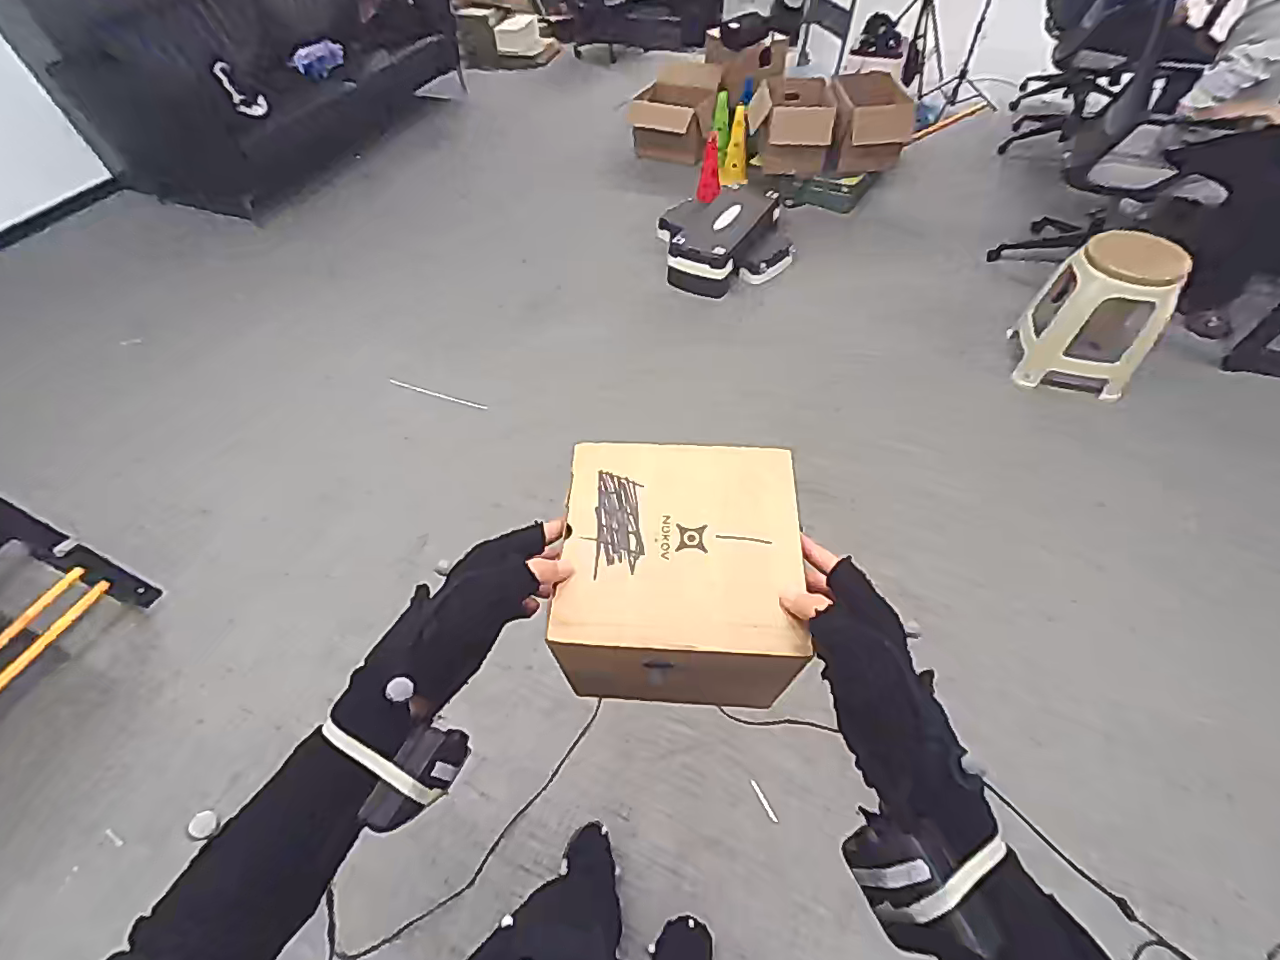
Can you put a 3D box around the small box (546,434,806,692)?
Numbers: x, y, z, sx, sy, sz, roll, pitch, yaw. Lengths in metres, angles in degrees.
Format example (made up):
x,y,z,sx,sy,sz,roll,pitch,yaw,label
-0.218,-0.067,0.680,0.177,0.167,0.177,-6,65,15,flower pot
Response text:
x,y,z,sx,sy,sz,roll,pitch,yaw,label
0.030,0.077,0.466,0.179,0.176,0.168,2,57,3,small box
